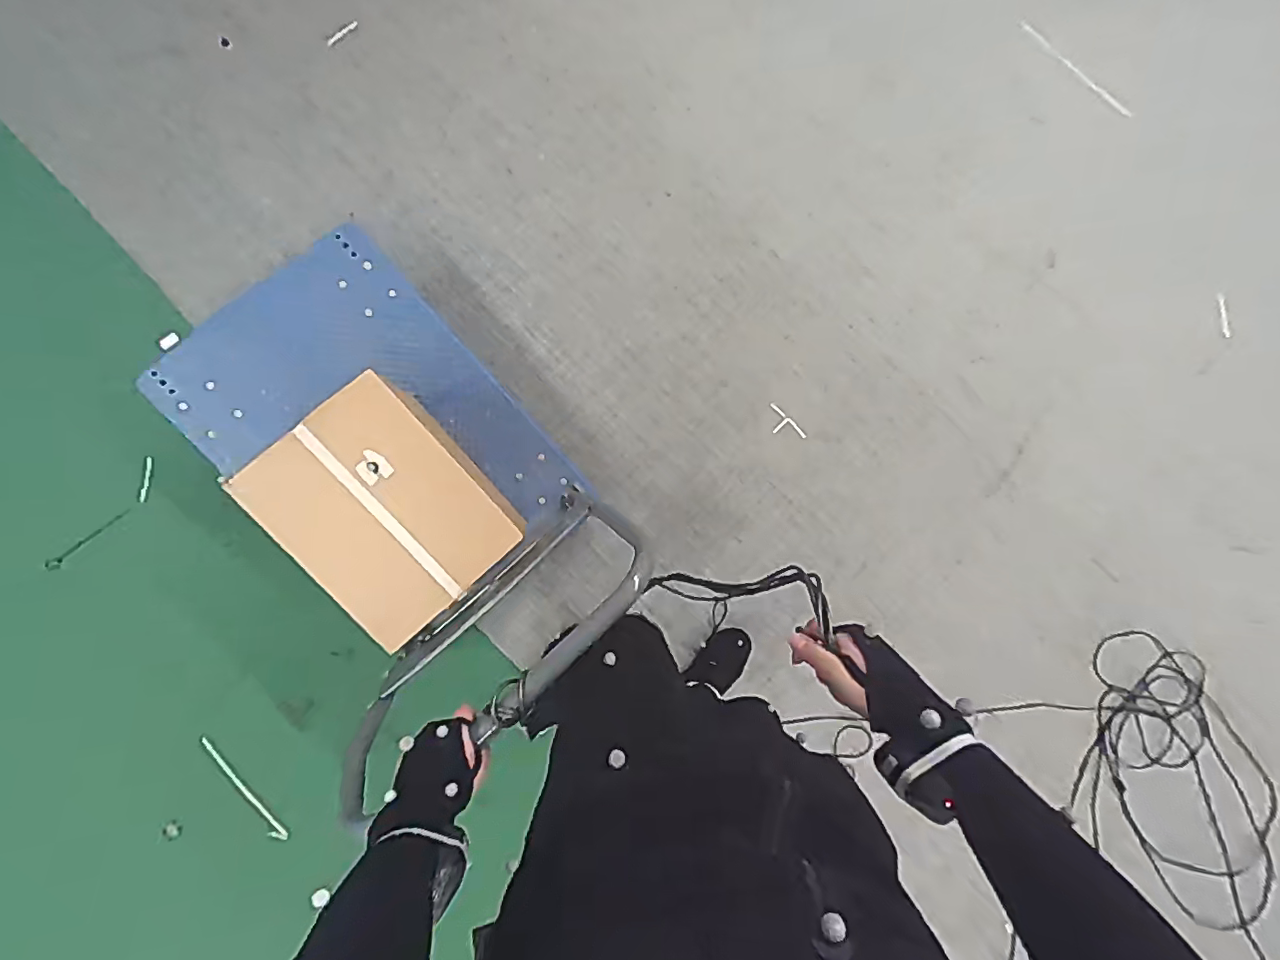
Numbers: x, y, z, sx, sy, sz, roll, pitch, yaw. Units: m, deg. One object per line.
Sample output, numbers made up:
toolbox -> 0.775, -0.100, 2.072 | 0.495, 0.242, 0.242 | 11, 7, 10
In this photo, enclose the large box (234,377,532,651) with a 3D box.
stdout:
large box -> -0.472, 0.063, 1.102 | 0.320, 0.320, 0.408 | -43, 96, -9
